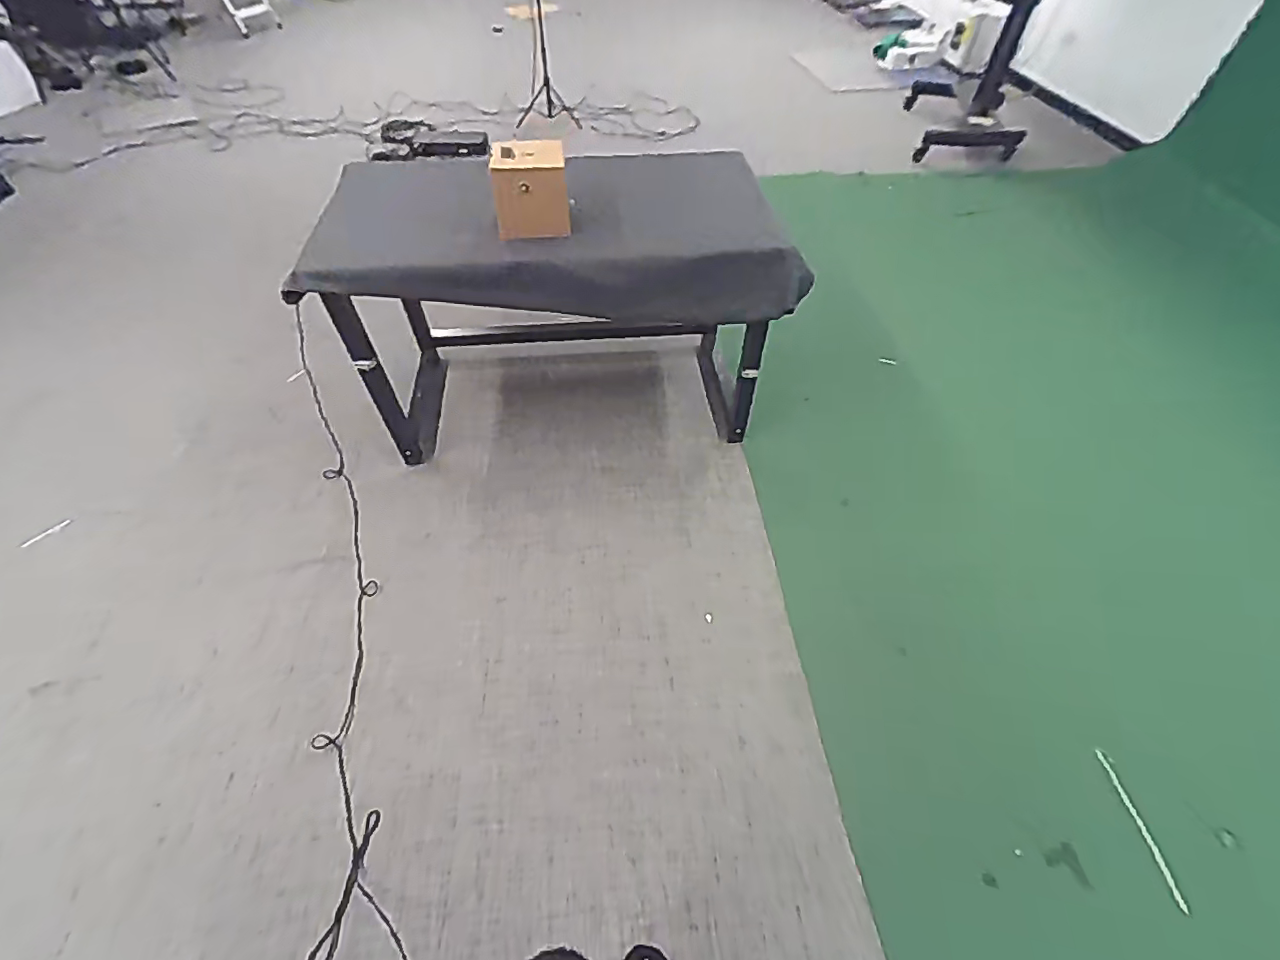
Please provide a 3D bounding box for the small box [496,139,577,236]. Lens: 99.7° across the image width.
[{"bbox_3d":[-0.254,-0.731,1.359,0.179,0.176,0.168,-4,52,-4],"label":"small box"}]
